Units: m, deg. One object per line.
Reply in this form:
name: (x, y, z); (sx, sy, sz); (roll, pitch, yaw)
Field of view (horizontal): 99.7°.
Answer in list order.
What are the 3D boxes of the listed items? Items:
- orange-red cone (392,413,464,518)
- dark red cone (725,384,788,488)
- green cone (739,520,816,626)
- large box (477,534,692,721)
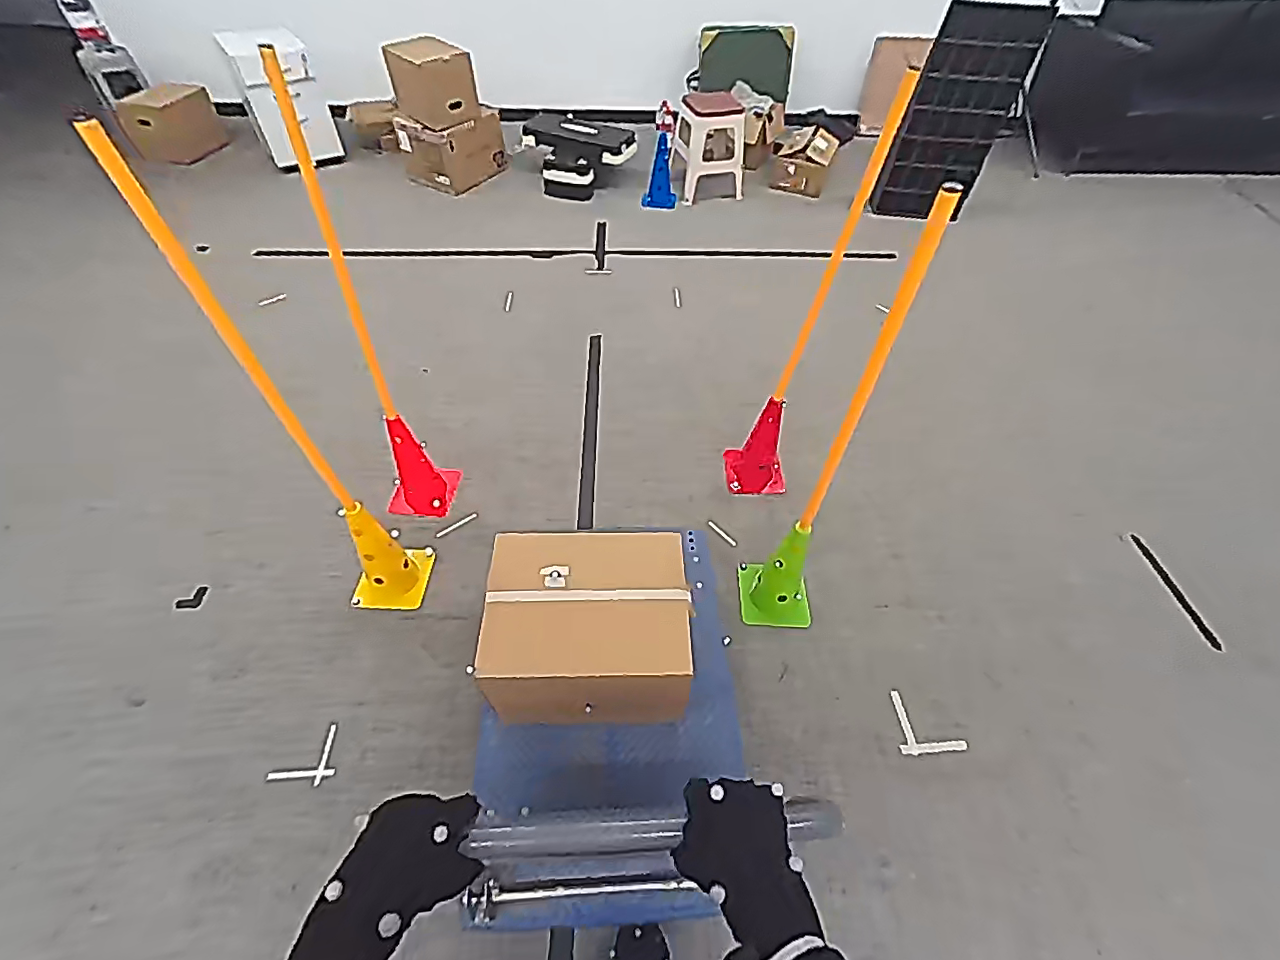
orange-red cone: (-0.710, -0.069, 1.704); (0.198, 0.360, 0.199); (6, 49, 2)
dark red cone: (0.418, -0.154, 1.785); (0.201, 0.394, 0.202); (1, 51, -4)
green cone: (0.409, 0.233, 1.491); (0.202, 0.368, 0.200); (4, 51, -1)
large box: (-0.106, 0.334, 1.206); (0.408, 0.320, 0.320); (-1, 51, -1)
